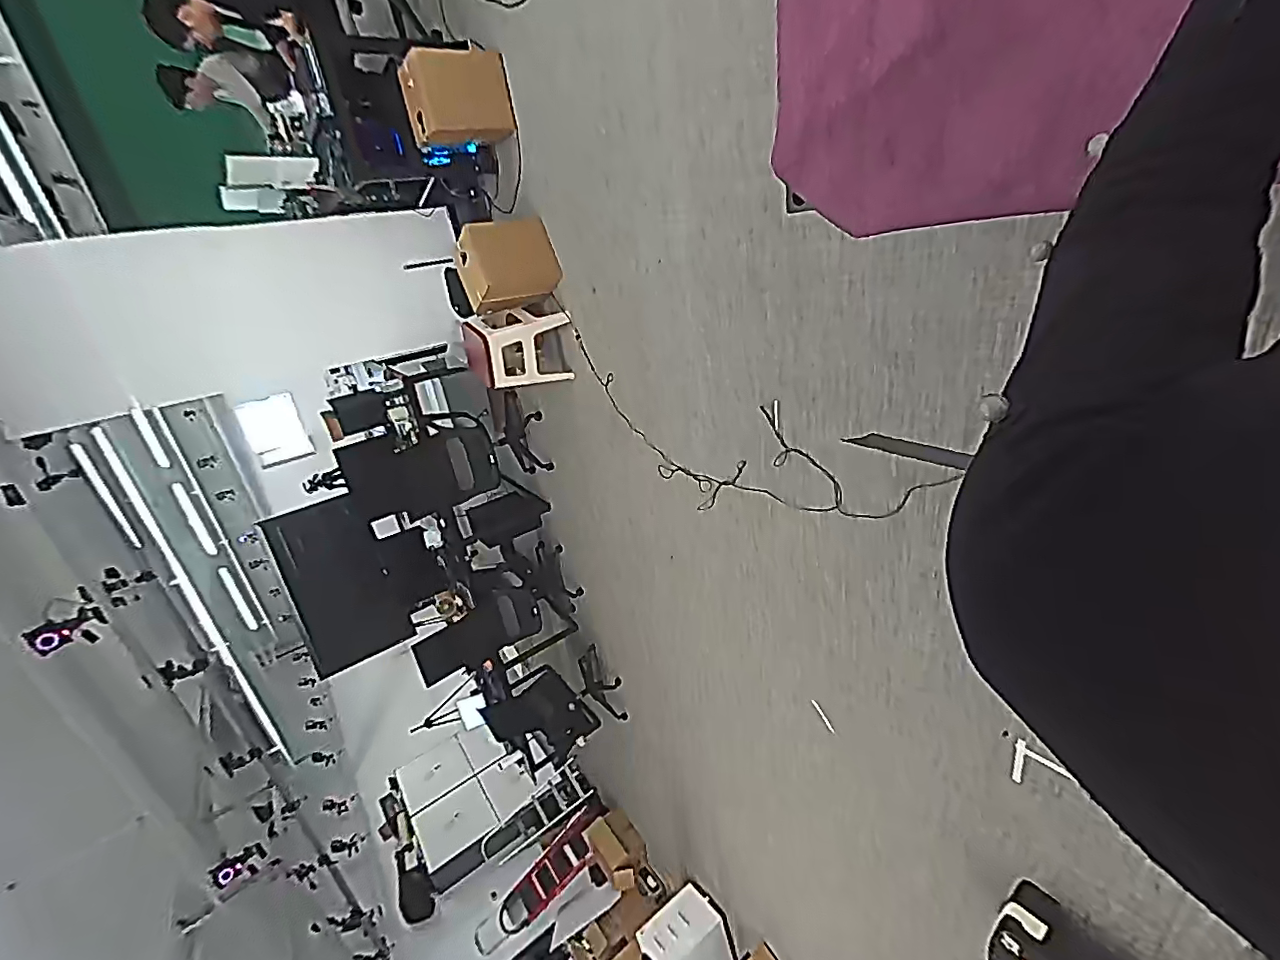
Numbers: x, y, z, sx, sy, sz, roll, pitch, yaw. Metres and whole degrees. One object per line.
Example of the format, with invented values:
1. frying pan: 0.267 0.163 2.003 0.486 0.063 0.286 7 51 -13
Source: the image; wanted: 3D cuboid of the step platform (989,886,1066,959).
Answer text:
1. step platform: 1.382 1.554 1.520 0.684 0.204 0.286 23 130 50
